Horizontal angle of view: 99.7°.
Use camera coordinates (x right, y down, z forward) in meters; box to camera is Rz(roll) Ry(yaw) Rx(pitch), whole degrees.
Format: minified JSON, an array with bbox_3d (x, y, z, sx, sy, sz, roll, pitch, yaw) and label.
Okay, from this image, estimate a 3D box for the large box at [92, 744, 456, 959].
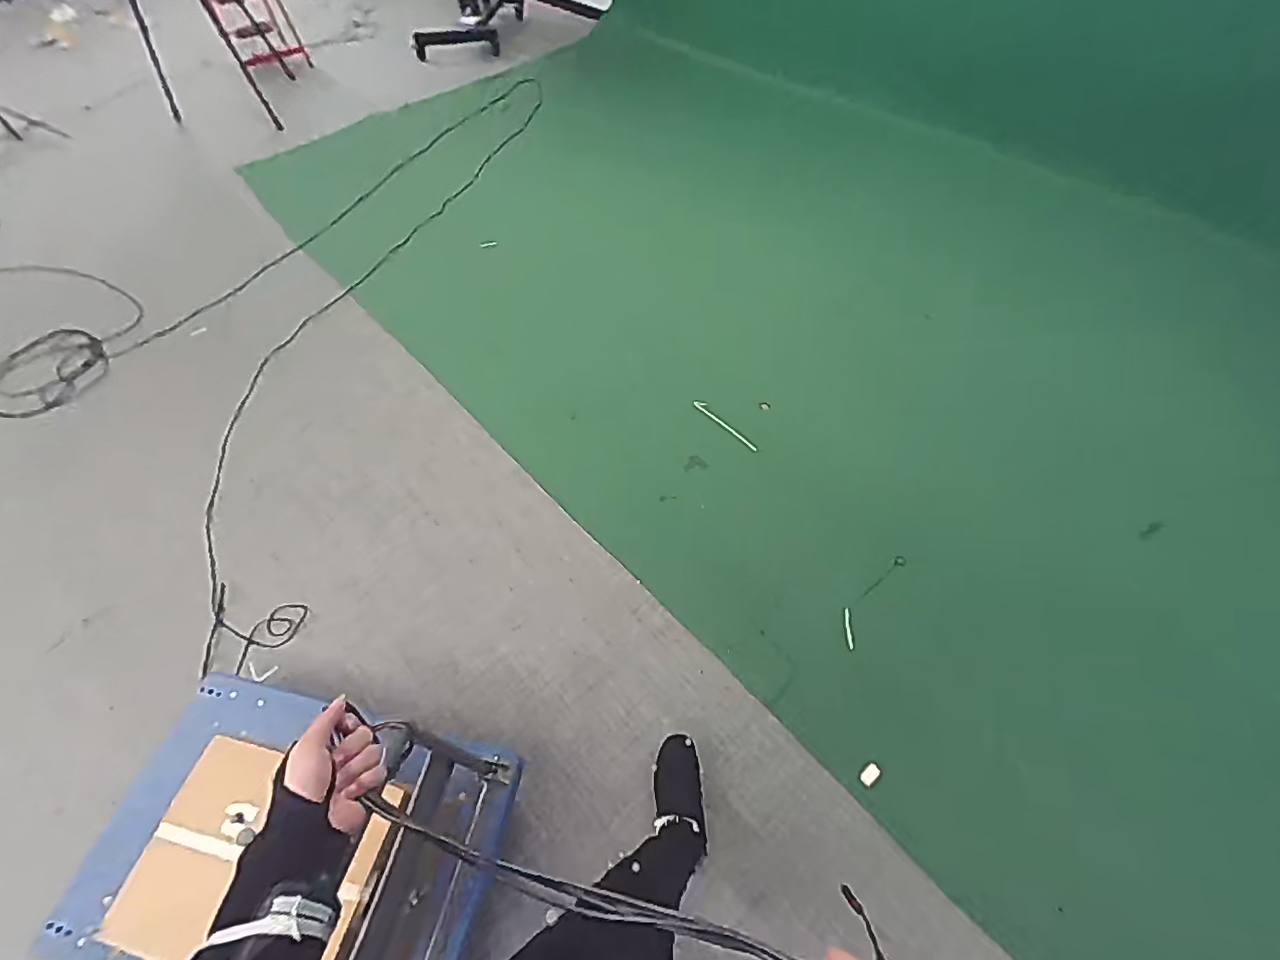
[{"bbox_3d":[-0.633,0.730,1.023,0.408,0.320,0.320,10,56,10],"label":"large box"}]
